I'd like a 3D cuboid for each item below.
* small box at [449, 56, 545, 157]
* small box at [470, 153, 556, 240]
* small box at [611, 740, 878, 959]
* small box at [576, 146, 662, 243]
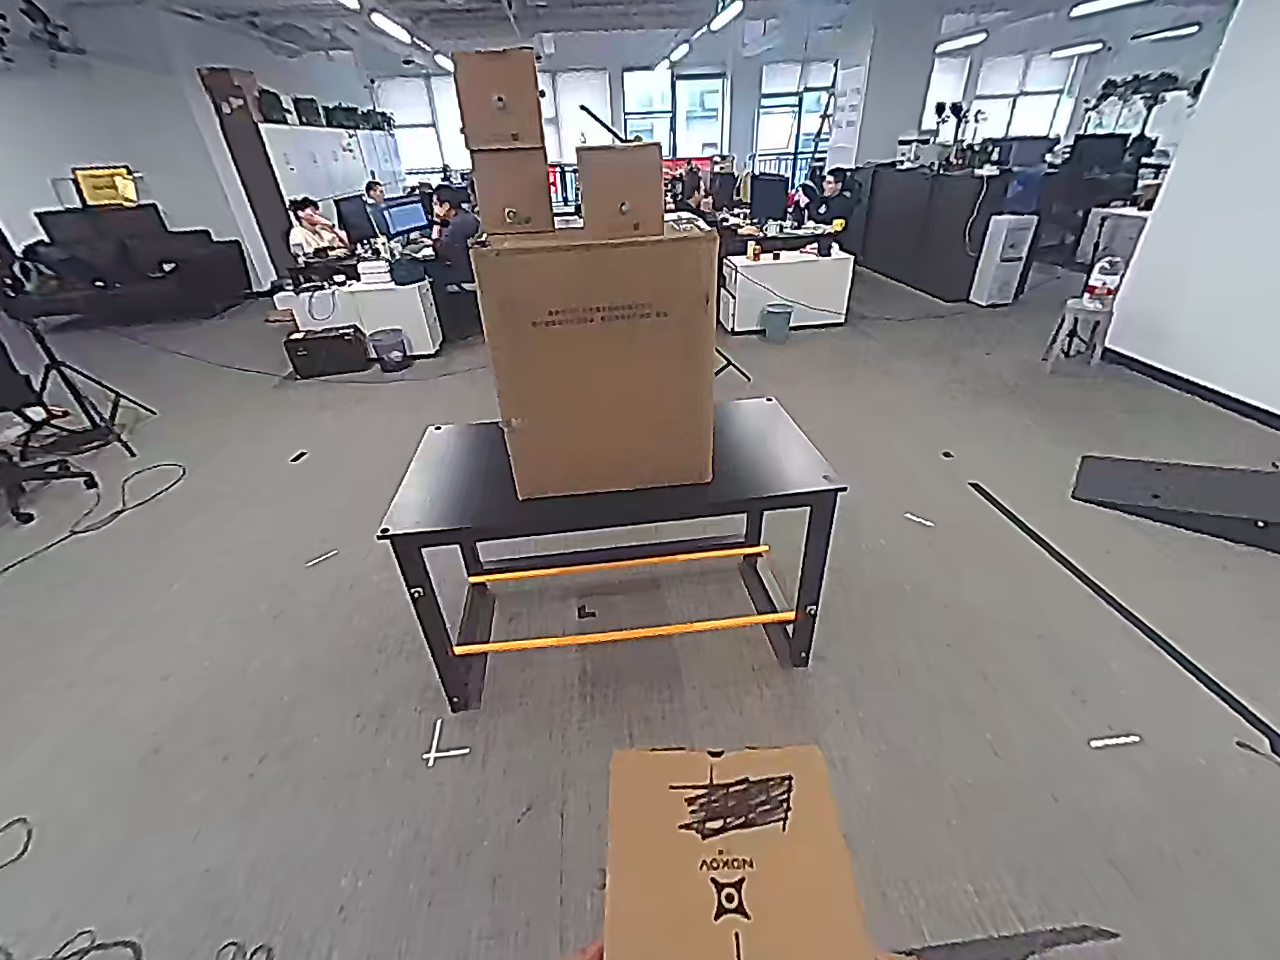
[{"bbox_3d":[-0.299,-0.795,1.165,0.168,0.176,0.179,-7,32,-6],"label":"small box"},{"bbox_3d":[-0.291,-0.664,1.265,0.168,0.176,0.179,-8,33,-7],"label":"small box"},{"bbox_3d":[0.065,0.325,0.415,0.168,0.176,0.179,-2,40,1],"label":"small box"},{"bbox_3d":[-0.046,-0.617,1.169,0.168,0.176,0.179,-8,33,-4],"label":"small box"}]
